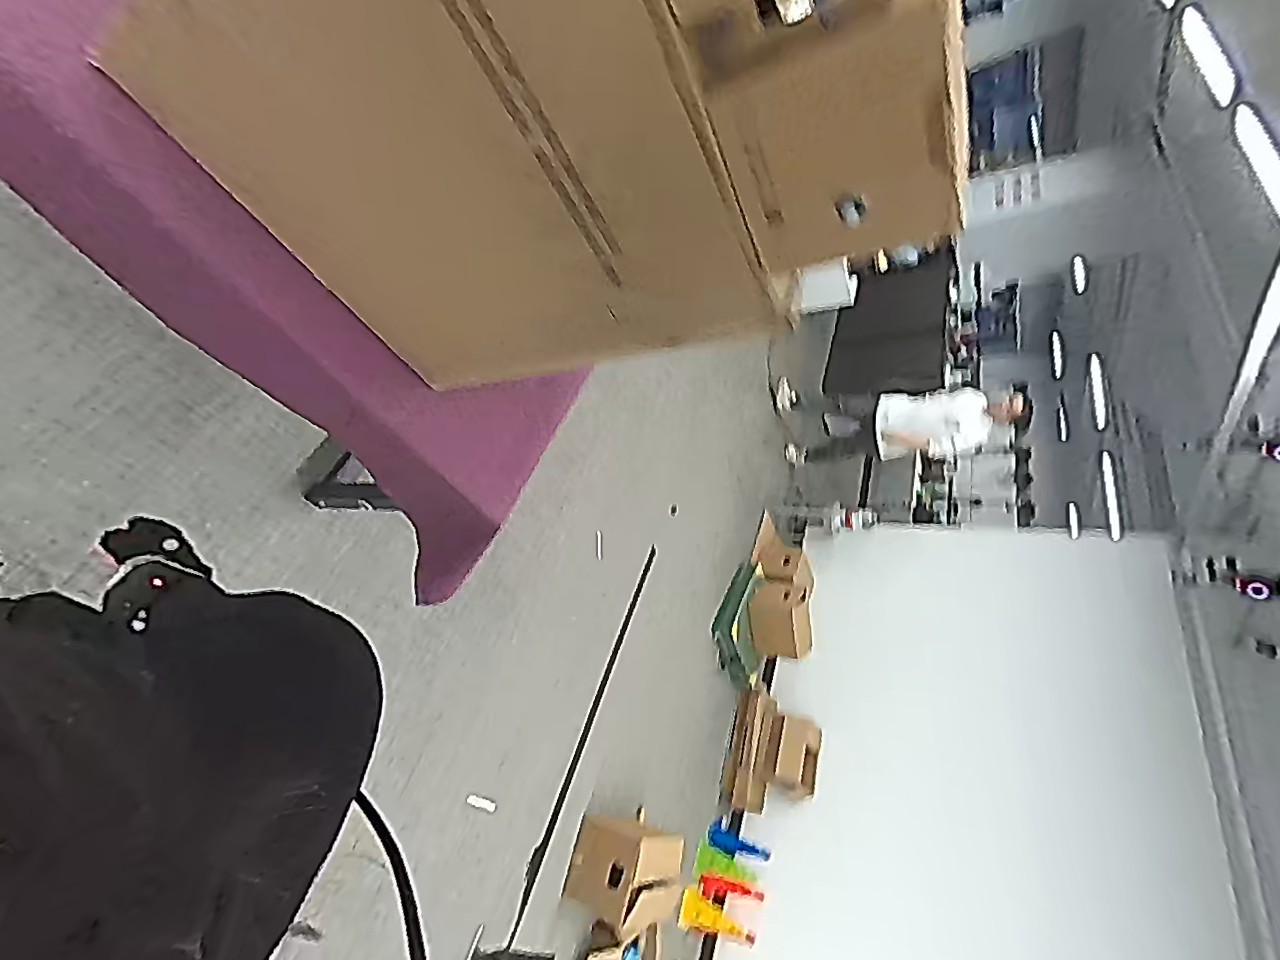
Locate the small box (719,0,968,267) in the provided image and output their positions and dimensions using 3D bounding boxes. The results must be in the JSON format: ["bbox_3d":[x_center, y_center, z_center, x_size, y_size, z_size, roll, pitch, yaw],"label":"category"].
[{"bbox_3d":[0.183,-0.315,0.473,0.168,0.176,0.179,57,44,-40],"label":"small box"}]
